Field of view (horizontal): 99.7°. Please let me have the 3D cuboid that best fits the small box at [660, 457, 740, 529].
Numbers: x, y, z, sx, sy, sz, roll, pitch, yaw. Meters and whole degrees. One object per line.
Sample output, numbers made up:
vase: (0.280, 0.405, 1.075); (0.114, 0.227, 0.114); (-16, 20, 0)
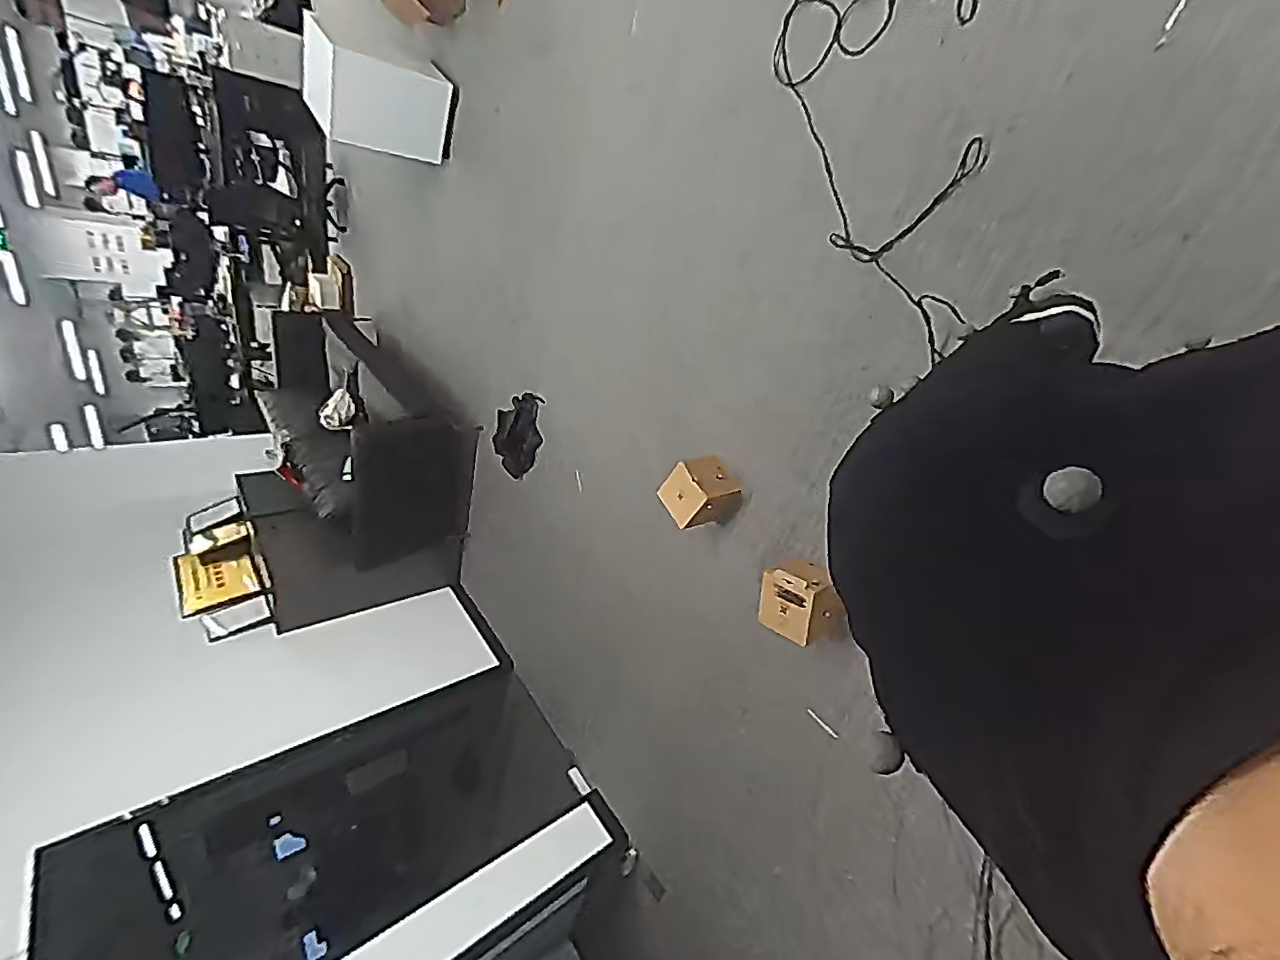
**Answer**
small box: (0.204, 0.041, 1.829); (0.168, 0.176, 0.179); (57, 135, 25)
